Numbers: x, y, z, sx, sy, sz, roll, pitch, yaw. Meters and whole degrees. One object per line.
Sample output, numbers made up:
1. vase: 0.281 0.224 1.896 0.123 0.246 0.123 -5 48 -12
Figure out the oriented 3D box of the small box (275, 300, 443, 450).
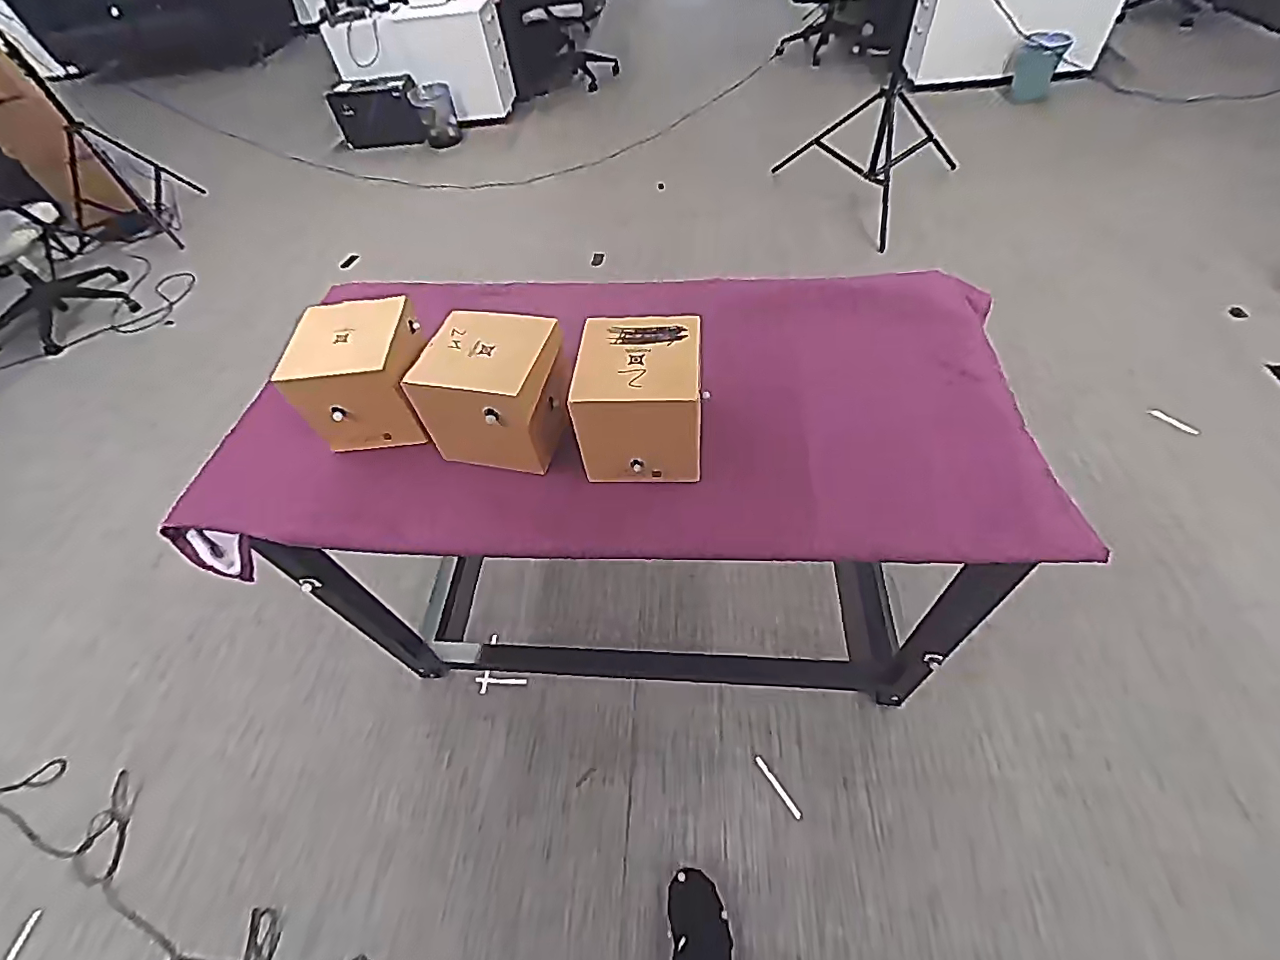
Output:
1. small box: -0.440 -0.162 0.882 0.168 0.176 0.179 -6 53 2
